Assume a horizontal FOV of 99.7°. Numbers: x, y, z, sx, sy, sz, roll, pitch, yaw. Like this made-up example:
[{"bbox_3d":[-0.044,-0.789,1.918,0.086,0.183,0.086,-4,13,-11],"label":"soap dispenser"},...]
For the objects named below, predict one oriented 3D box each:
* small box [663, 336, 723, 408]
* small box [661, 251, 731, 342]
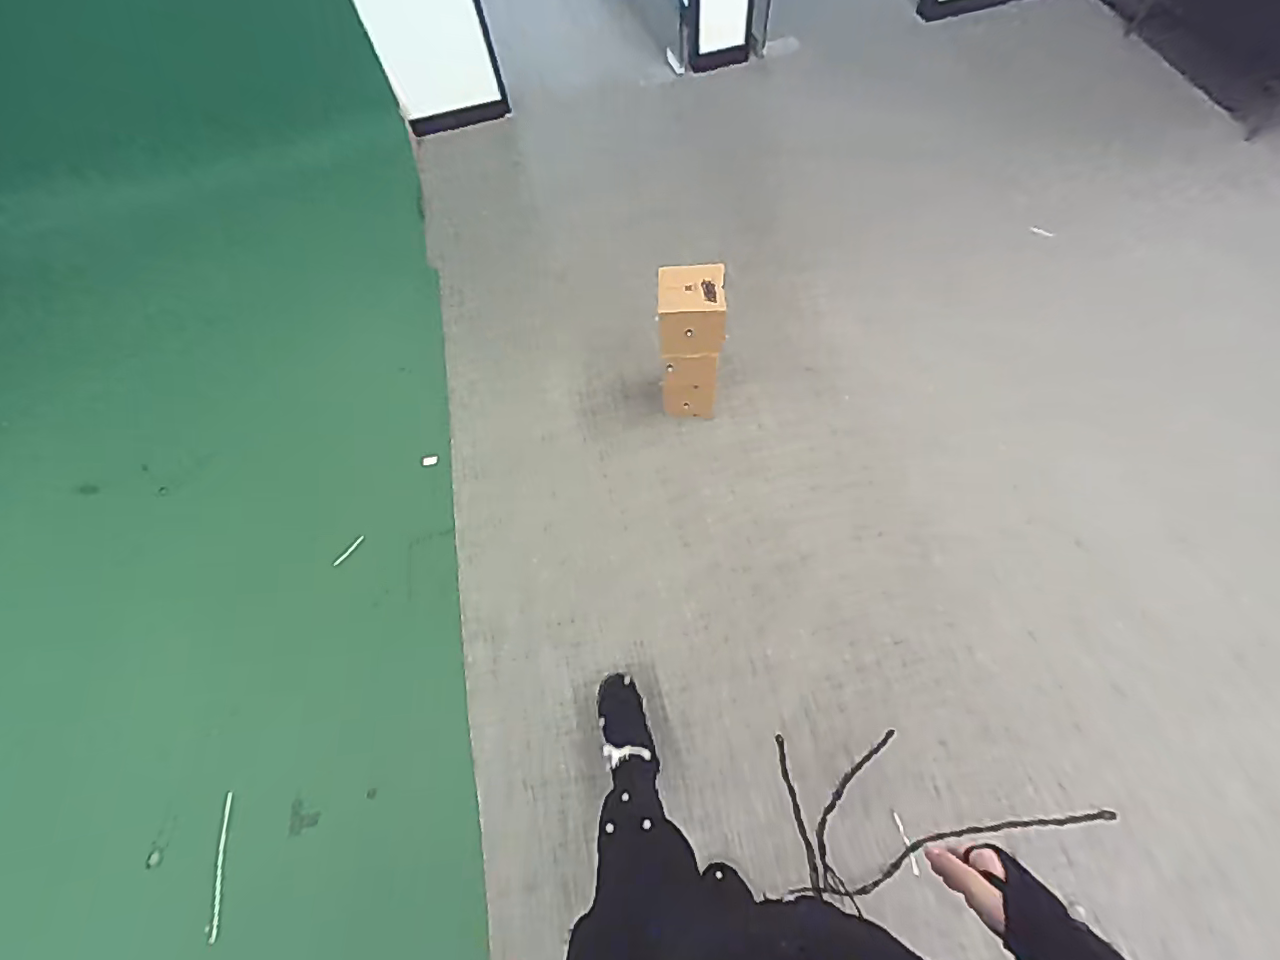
[{"bbox_3d":[0.171,-0.351,1.743,0.168,0.176,0.179,7,66,7],"label":"small box"},{"bbox_3d":[0.149,-0.486,1.445,0.179,0.176,0.168,1,65,6],"label":"small box"}]
